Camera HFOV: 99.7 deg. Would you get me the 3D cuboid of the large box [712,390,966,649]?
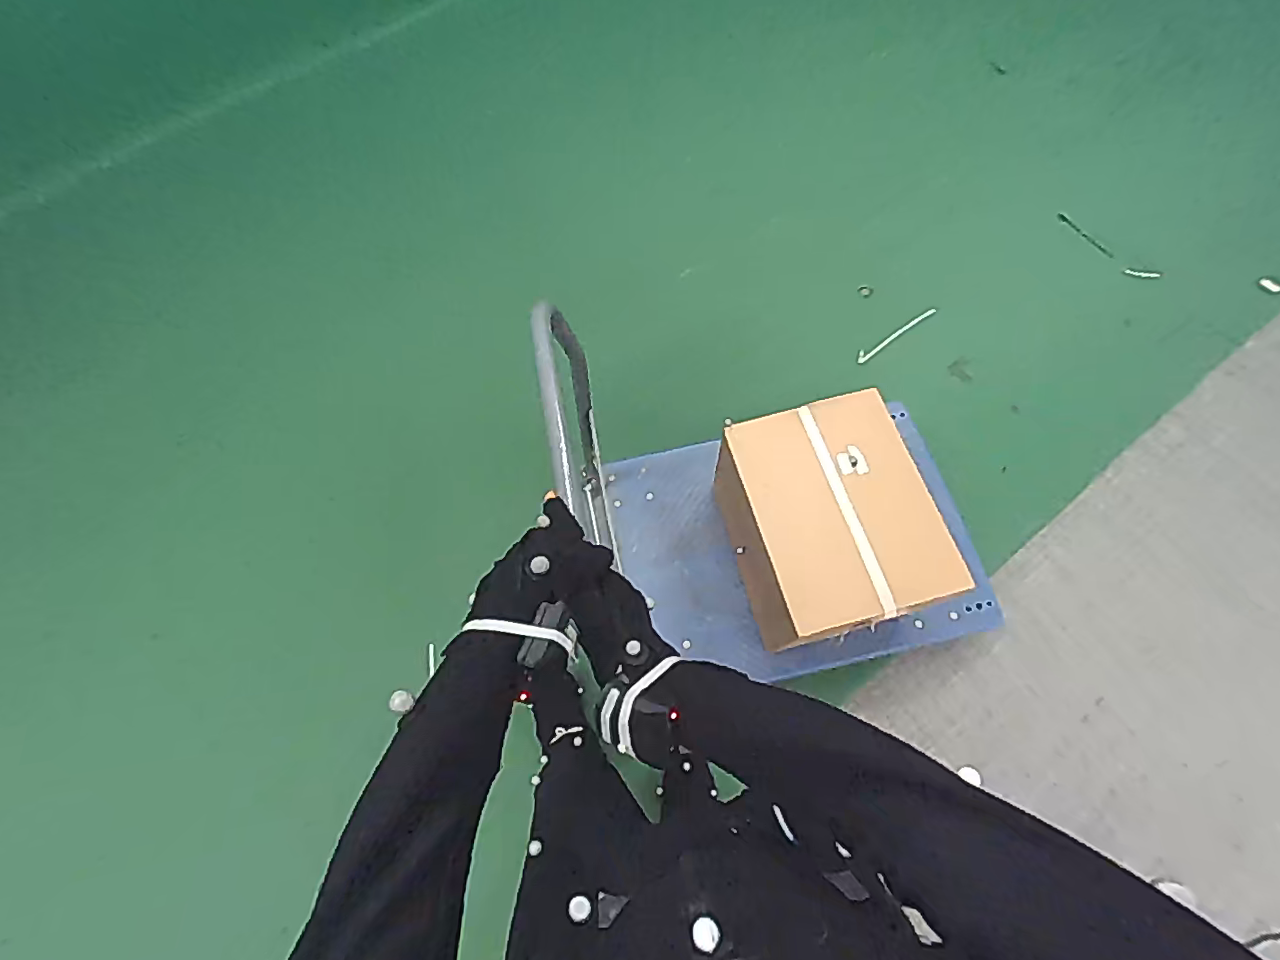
[{"bbox_3d":[0.361,0.094,1.111,0.320,0.320,0.408,-15,67,-4],"label":"large box"}]
